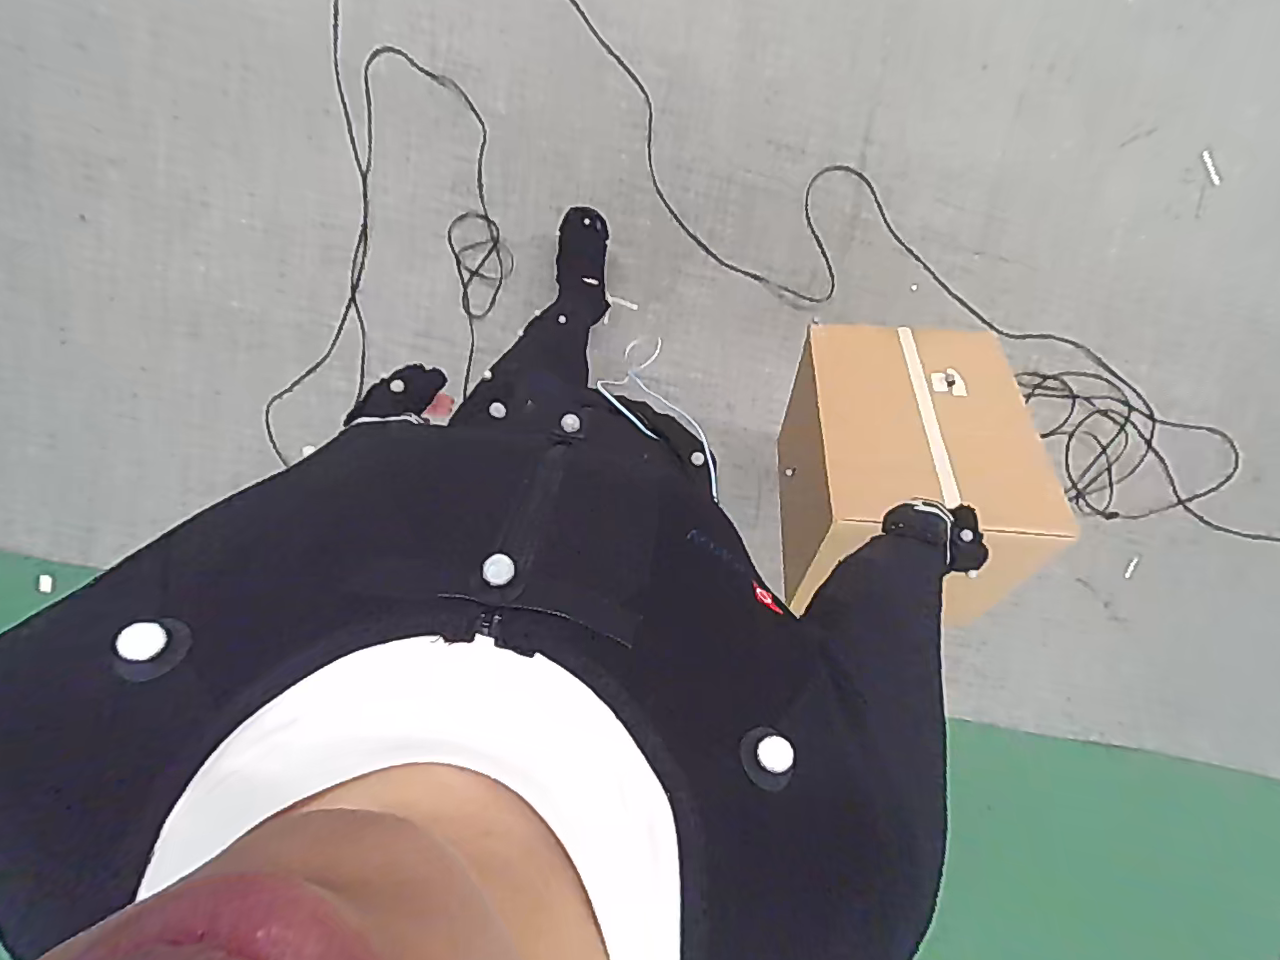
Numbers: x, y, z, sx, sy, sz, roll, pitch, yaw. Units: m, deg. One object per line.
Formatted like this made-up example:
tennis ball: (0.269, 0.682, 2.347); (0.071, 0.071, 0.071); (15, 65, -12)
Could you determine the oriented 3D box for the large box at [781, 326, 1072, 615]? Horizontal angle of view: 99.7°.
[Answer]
large box: (0.437, -0.014, 0.949); (0.320, 0.408, 0.320); (4, 144, 4)
